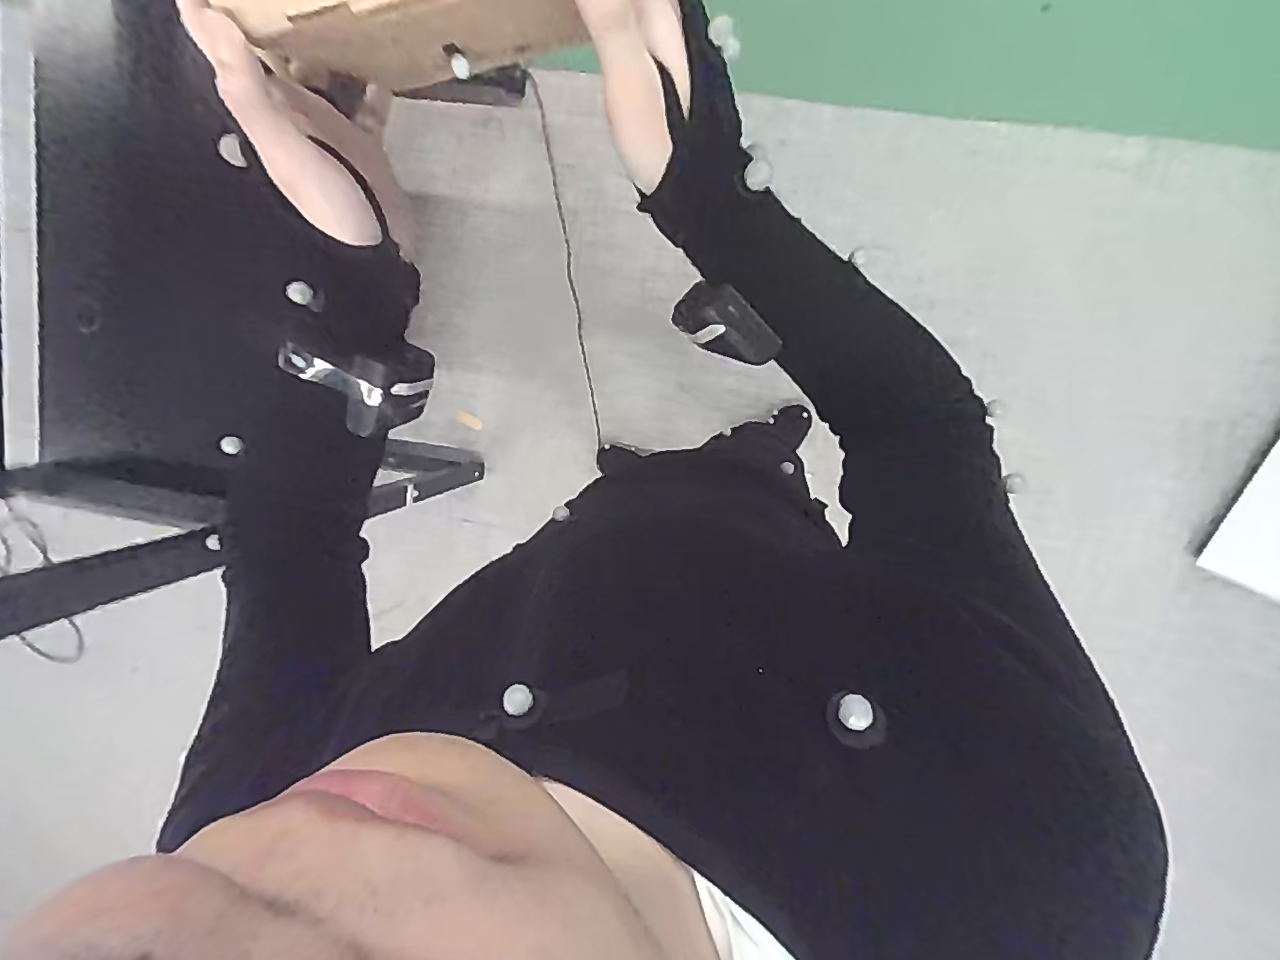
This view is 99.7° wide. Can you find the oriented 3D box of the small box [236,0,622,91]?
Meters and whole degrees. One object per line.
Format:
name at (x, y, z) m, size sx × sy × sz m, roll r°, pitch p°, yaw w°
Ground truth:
small box at (-0.107, -0.322, 0.268) m, size 0.168 × 0.176 × 0.179 m, roll -7°, pitch 120°, yaw 7°
